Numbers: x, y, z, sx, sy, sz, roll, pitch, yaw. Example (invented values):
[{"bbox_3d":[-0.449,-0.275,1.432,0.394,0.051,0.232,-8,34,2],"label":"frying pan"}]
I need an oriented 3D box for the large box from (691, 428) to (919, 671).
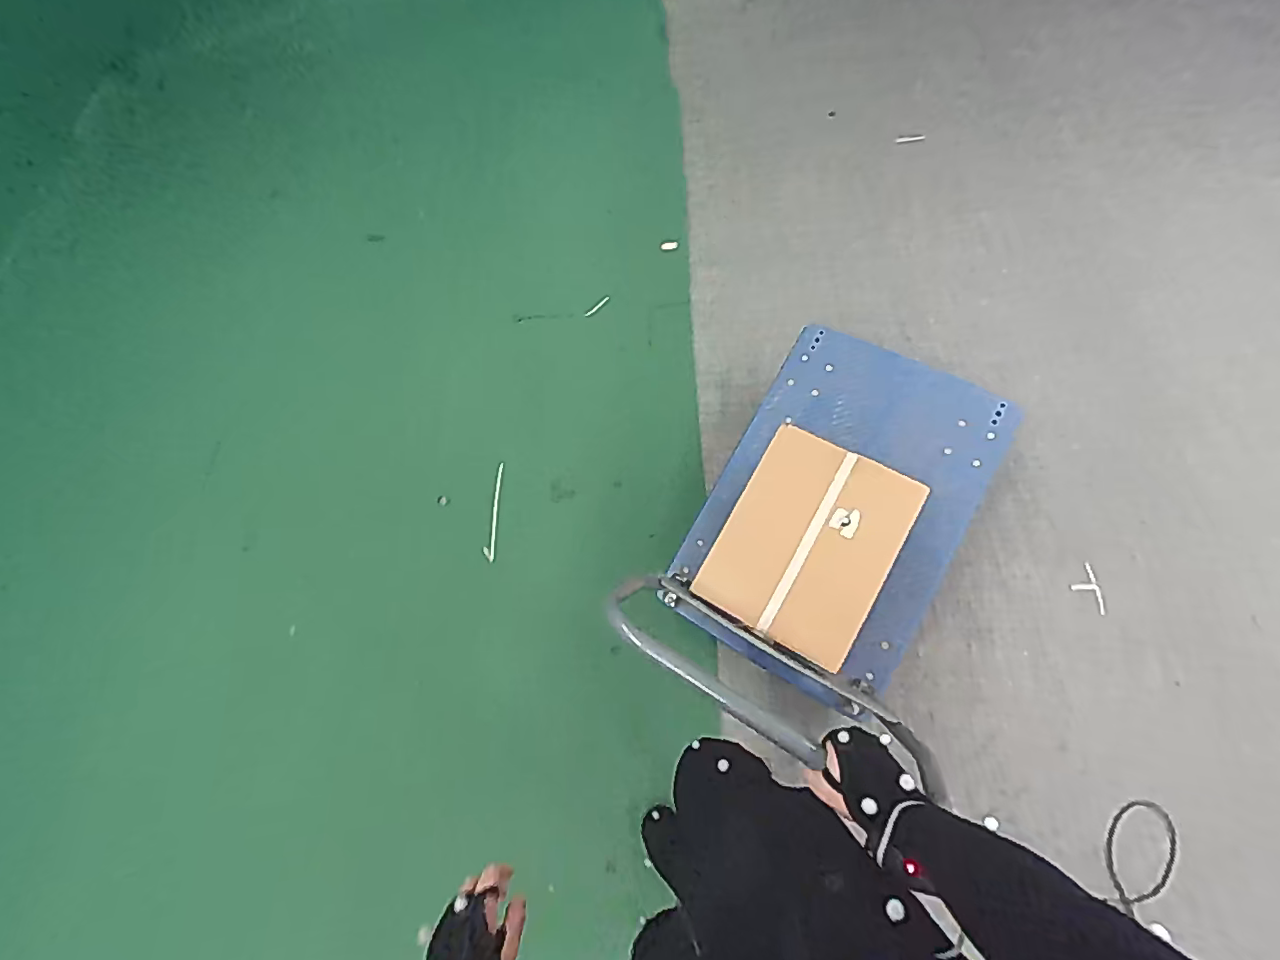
[{"bbox_3d":[0.352,0.164,1.213,0.320,0.320,0.408,28,81,16],"label":"large box"}]
